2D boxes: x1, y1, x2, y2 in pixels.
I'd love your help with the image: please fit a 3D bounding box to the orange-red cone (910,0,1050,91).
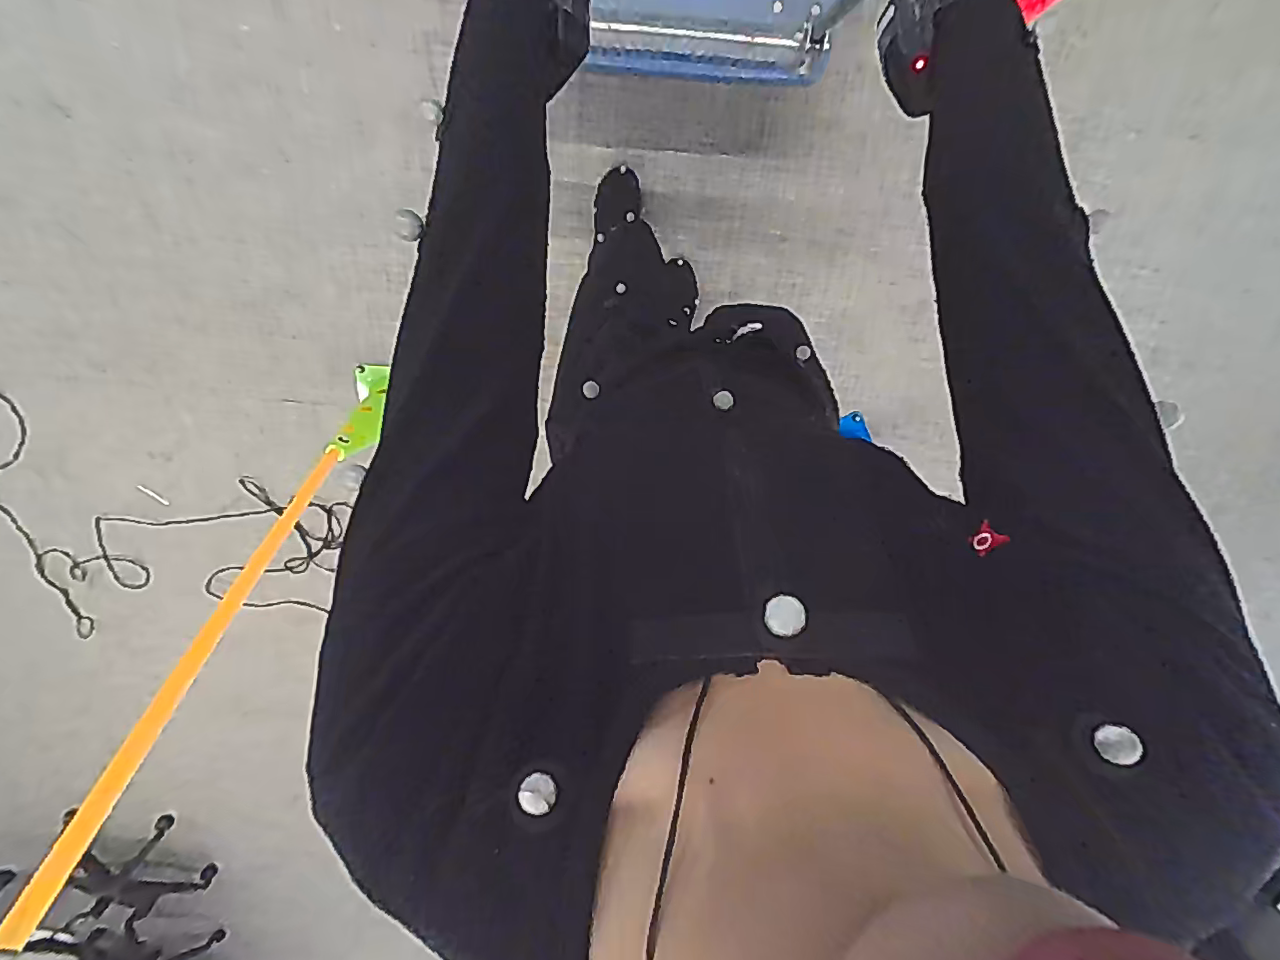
[{"bbox_3d":[0.687,-0.874,0.969,0.198,0.360,0.199,16,116,-7],"label":"orange-red cone"}]
